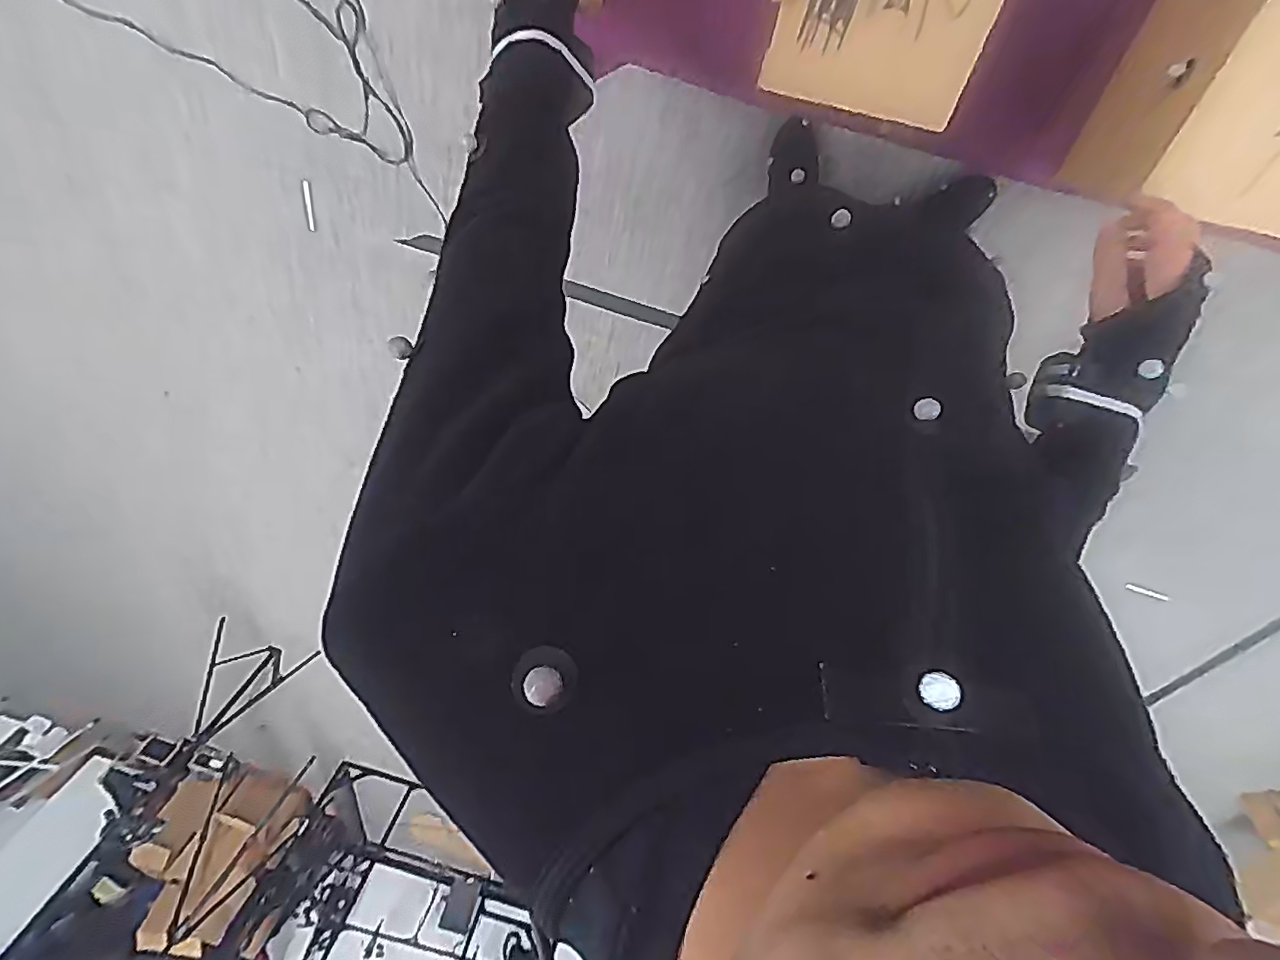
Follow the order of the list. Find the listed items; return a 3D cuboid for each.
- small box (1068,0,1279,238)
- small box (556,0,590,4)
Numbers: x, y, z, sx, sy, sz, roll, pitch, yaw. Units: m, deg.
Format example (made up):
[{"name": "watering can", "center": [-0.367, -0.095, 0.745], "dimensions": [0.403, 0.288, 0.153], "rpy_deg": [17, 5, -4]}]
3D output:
[{"name": "small box", "center": [0.549, -0.344, 0.496], "dimensions": [0.168, 0.176, 0.179], "rpy_deg": [14, 130, 4]}, {"name": "small box", "center": [-0.126, -0.564, 0.494], "dimensions": [0.179, 0.176, 0.168], "rpy_deg": [15, 129, 0]}]
